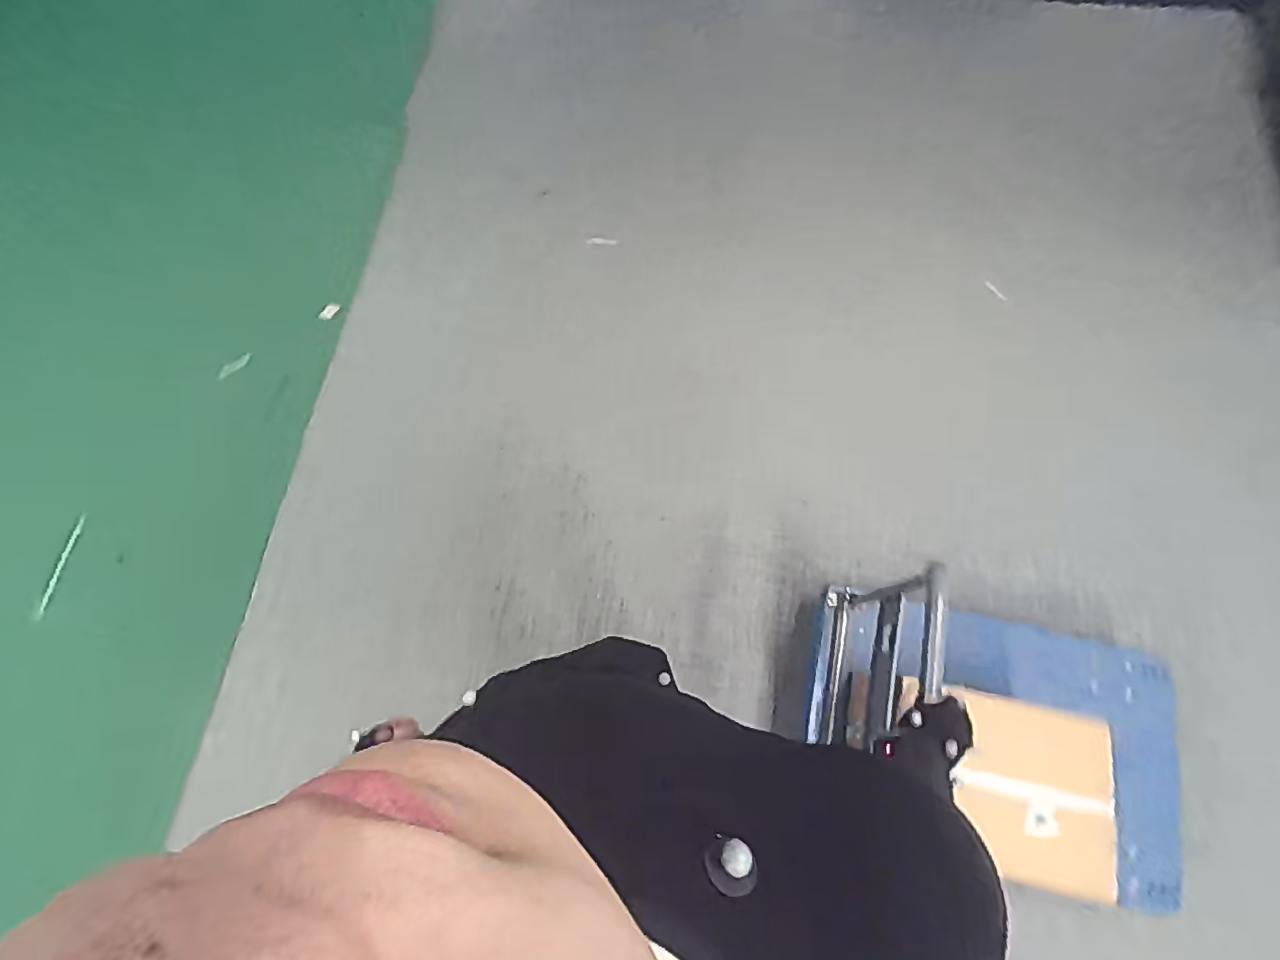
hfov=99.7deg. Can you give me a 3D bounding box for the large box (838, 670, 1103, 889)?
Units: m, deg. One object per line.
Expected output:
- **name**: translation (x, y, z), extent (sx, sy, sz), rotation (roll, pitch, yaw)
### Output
- **large box**: translation (0.699, 0.625, 1.203), extent (0.408, 0.320, 0.320), rotation (12, 74, 5)
